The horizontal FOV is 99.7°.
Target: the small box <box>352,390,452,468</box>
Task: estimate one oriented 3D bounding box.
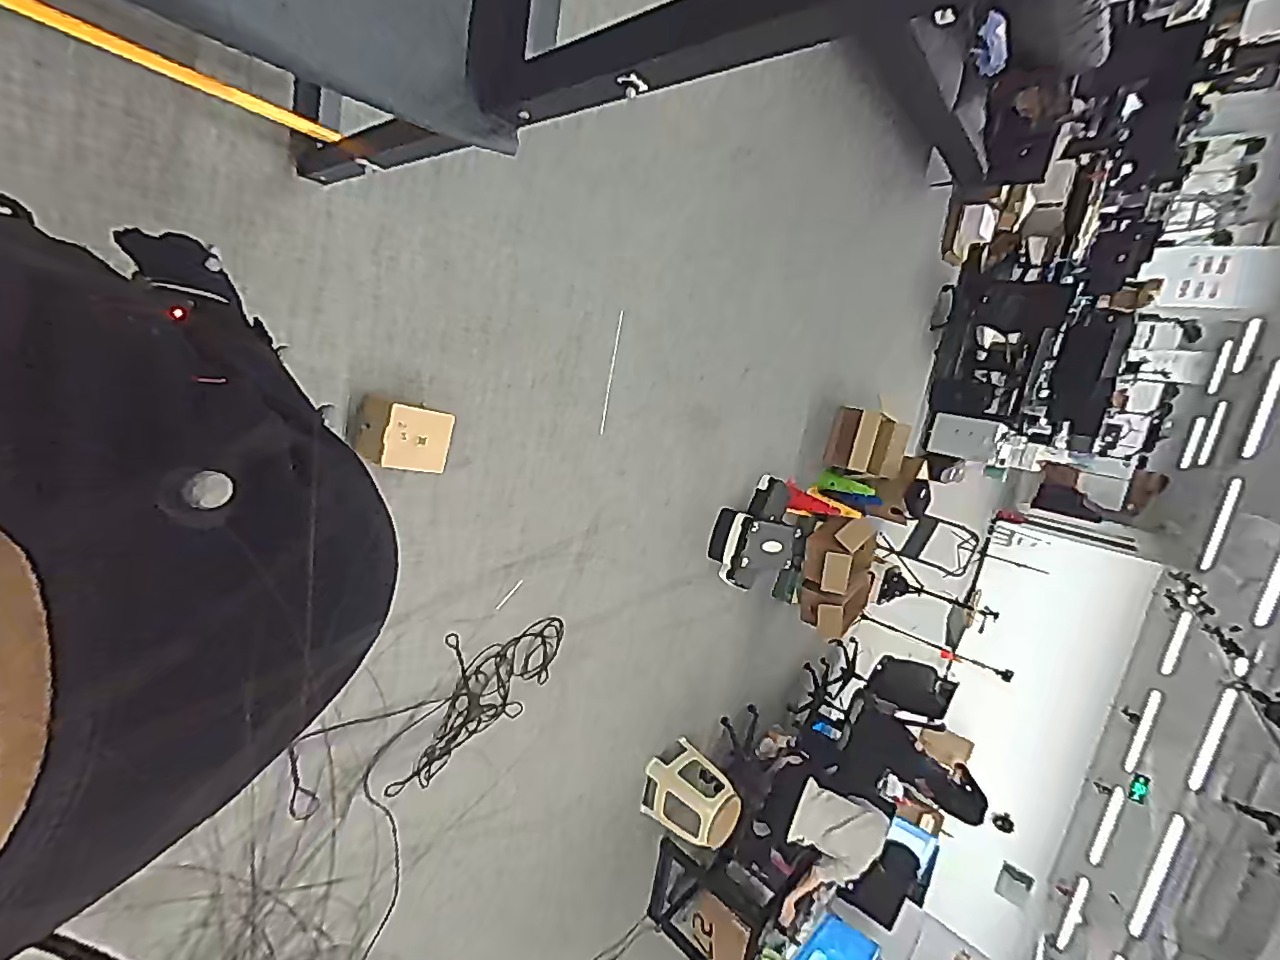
[{"bbox_3d":[-0.645,-0.139,1.461,0.179,0.176,0.168,9,98,-50],"label":"small box"}]
